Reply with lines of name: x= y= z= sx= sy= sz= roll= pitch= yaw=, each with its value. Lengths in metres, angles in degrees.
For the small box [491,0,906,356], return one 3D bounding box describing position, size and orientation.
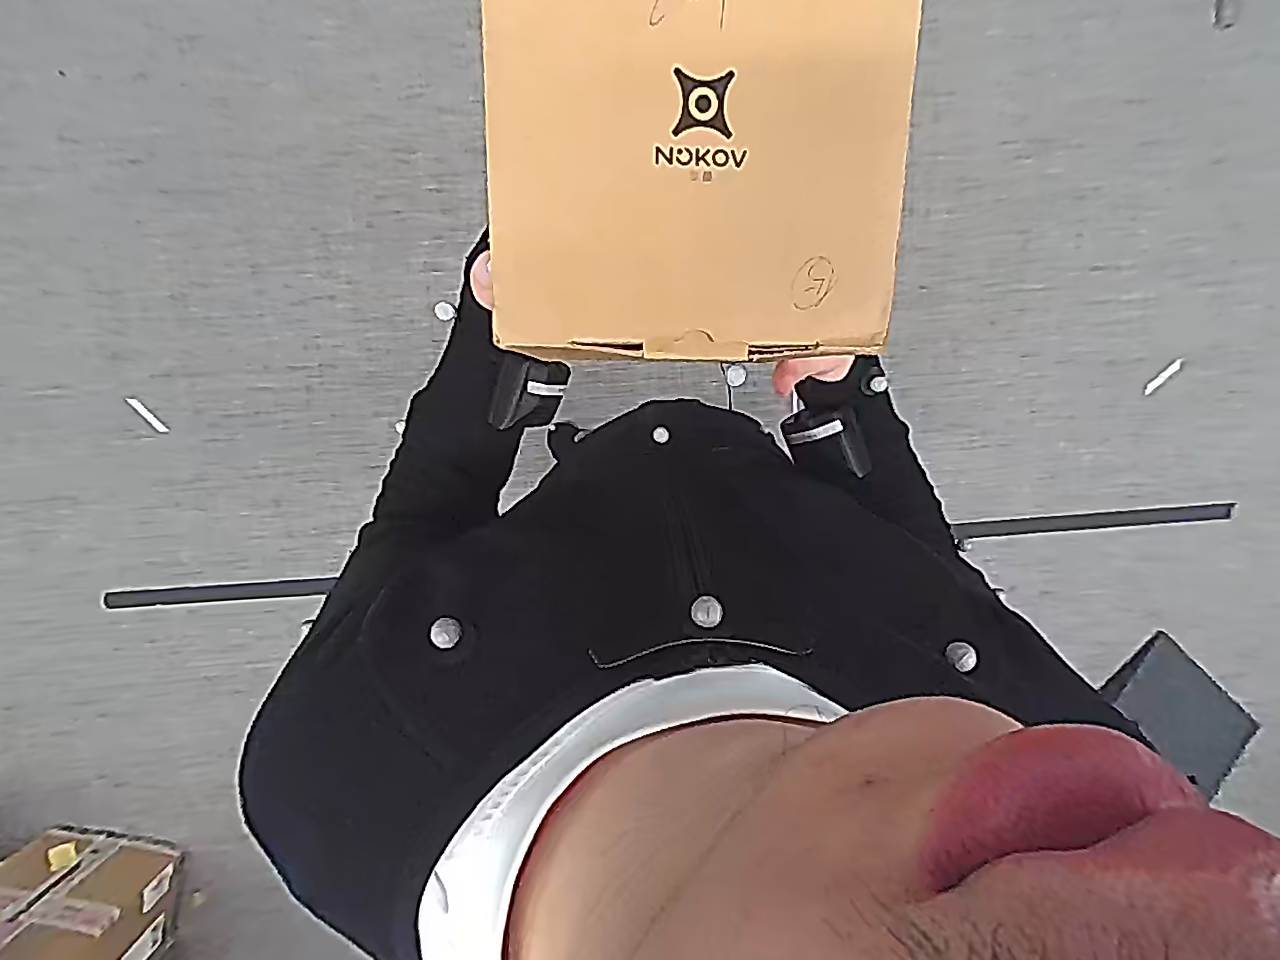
small box: x=0.017 y=-0.160 z=0.297 sx=0.168 sy=0.176 sz=0.179 roll=-1 pitch=101 yaw=-5
